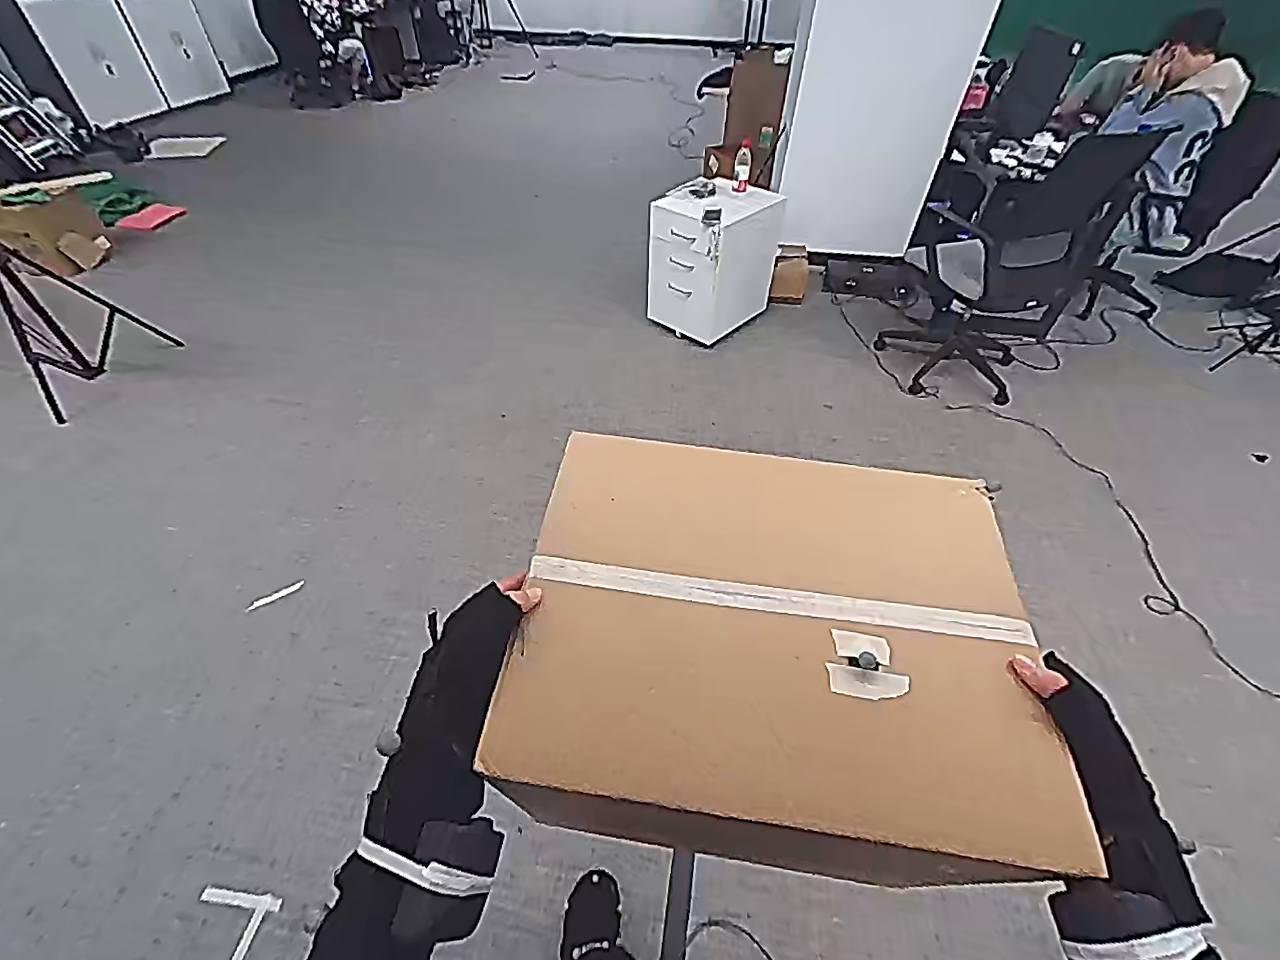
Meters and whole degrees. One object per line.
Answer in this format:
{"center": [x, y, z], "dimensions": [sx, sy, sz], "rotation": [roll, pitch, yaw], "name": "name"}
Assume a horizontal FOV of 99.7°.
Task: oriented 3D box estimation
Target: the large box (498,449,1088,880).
{"center": [0.109, 0.199, 0.568], "dimensions": [0.408, 0.320, 0.320], "rotation": [7, 53, 4], "name": "large box"}
